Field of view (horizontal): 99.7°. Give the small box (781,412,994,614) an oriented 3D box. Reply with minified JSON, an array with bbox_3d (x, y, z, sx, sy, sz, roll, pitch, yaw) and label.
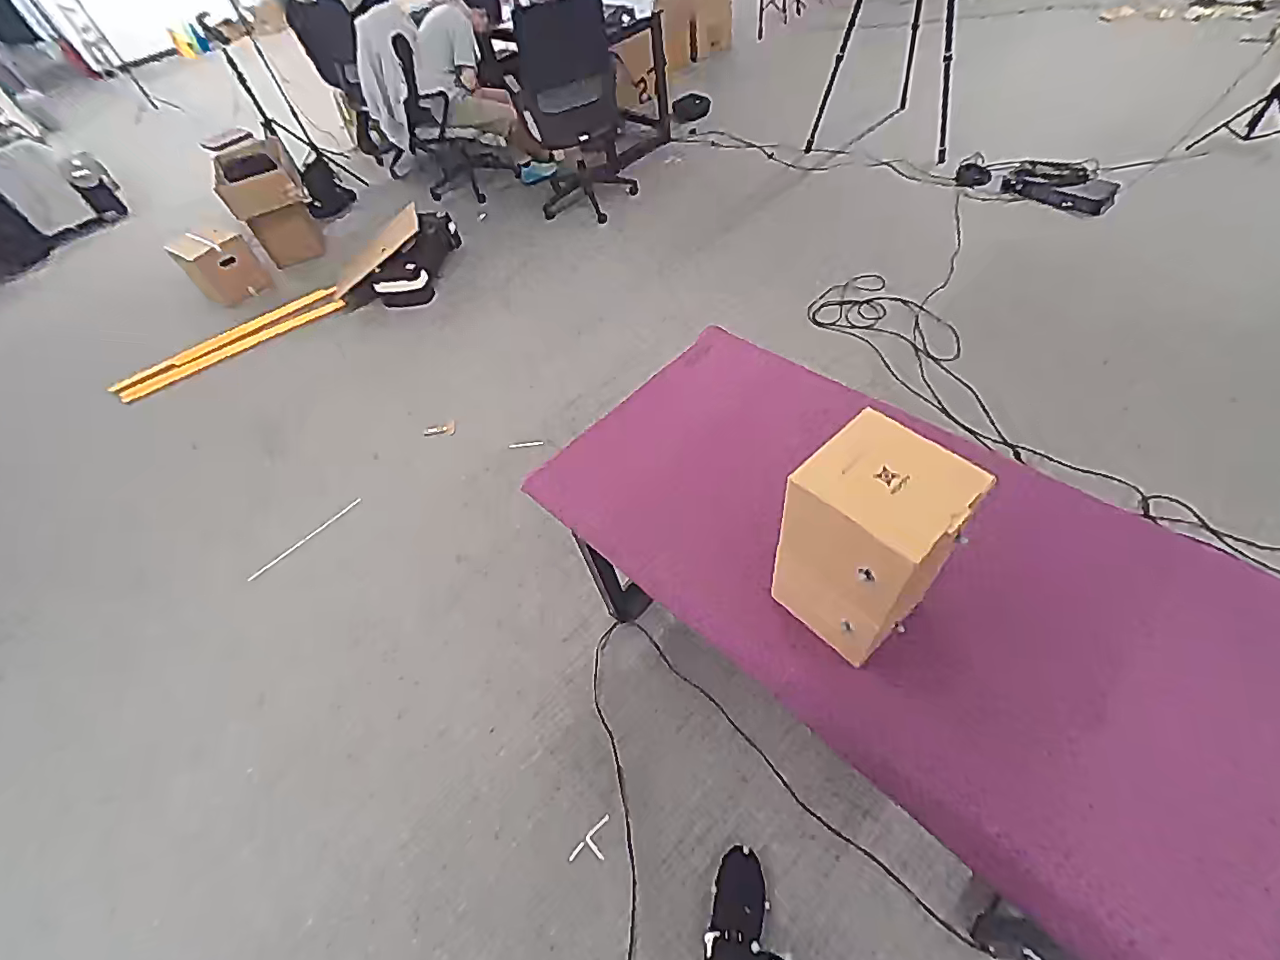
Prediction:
[{"bbox_3d":[0.307,0.051,0.708,0.168,0.176,0.179,-37,55,-19],"label":"small box"}]
